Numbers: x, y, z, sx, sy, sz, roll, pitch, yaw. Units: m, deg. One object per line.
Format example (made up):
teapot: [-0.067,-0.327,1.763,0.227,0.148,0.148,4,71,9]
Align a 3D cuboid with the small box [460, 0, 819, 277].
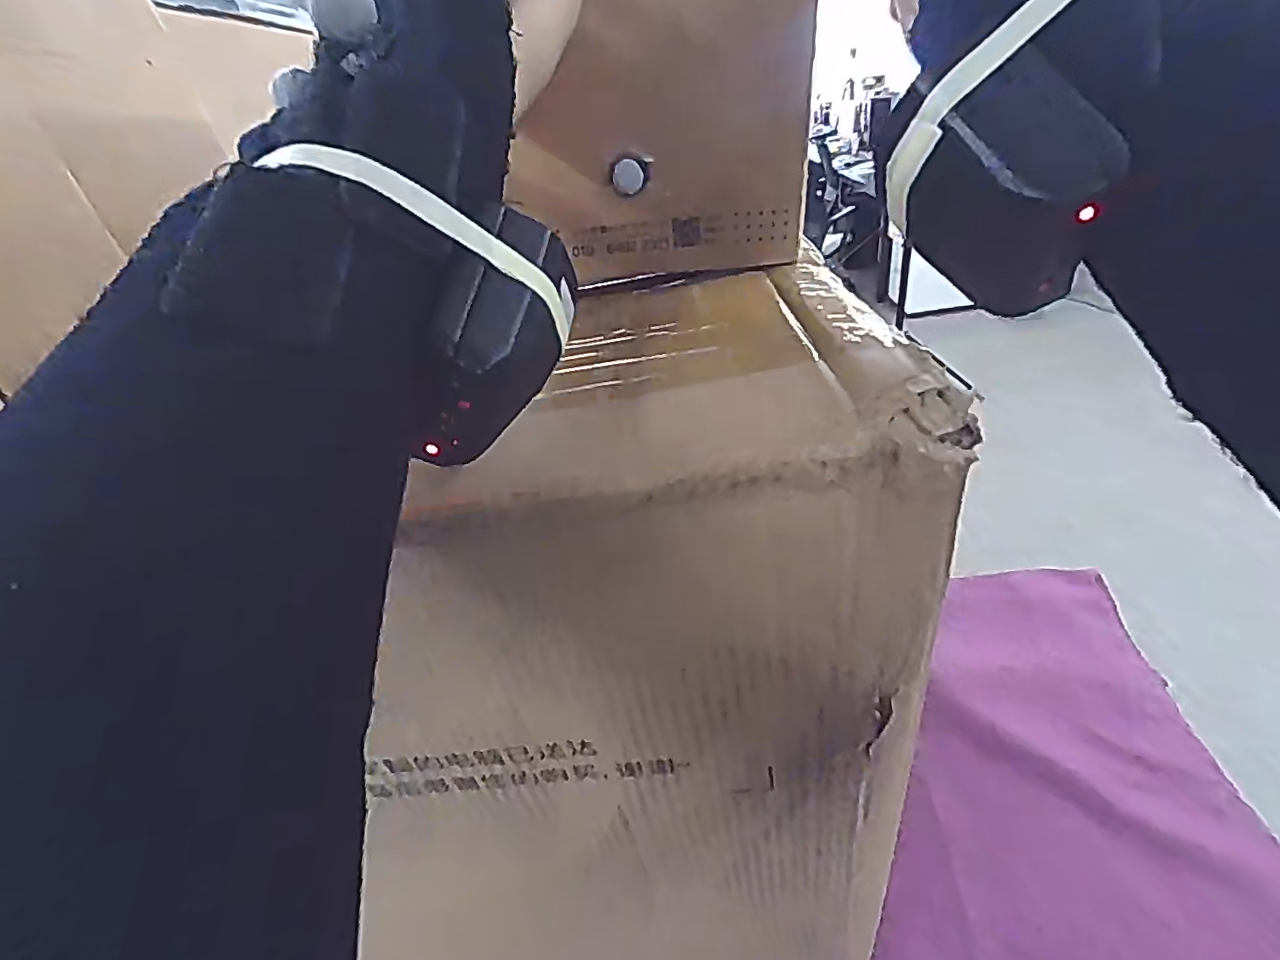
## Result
small box: [0.004,-0.231,0.324,0.168,0.176,0.179,-2,37,6]
